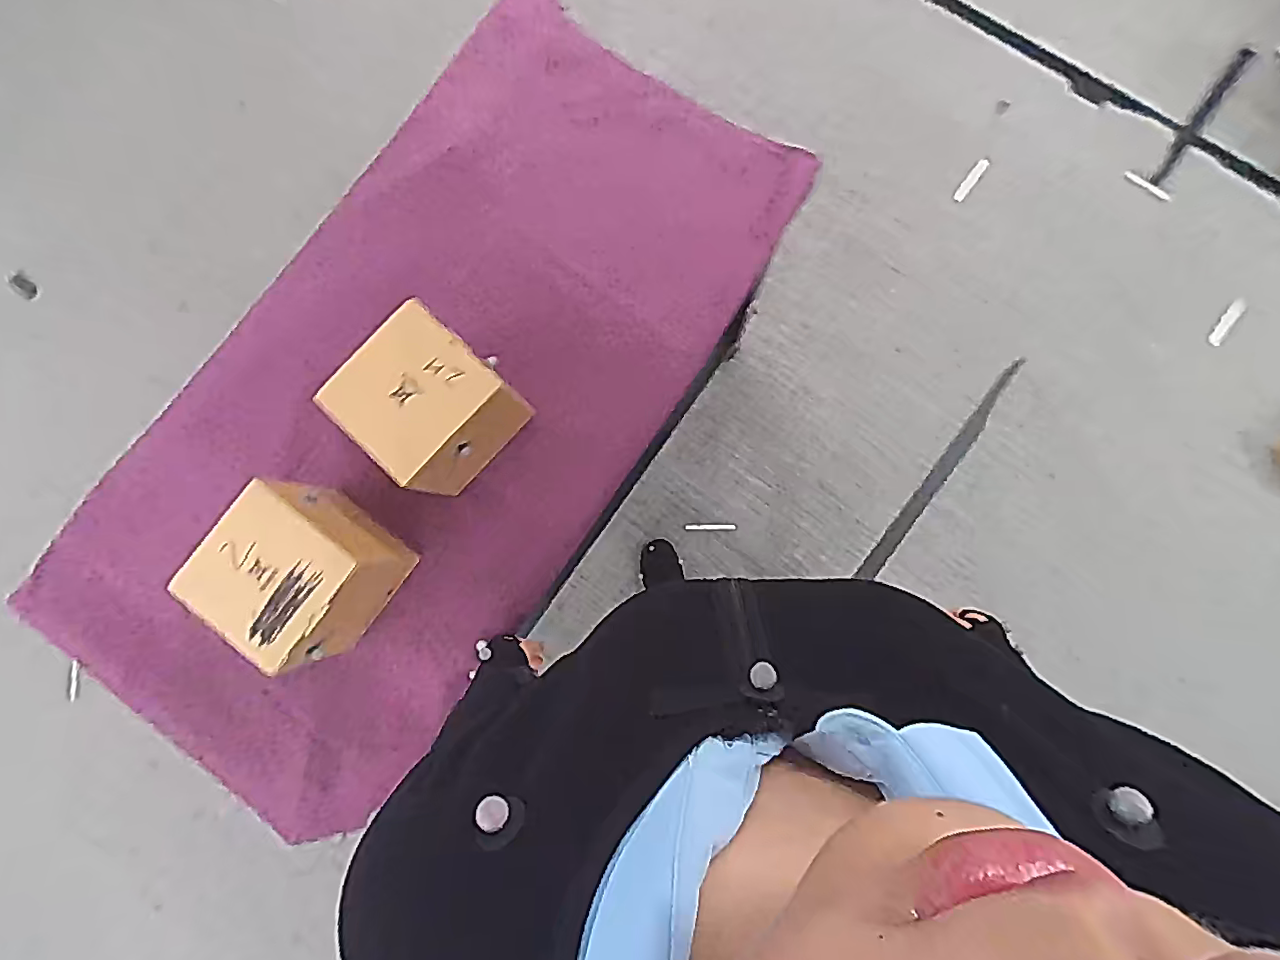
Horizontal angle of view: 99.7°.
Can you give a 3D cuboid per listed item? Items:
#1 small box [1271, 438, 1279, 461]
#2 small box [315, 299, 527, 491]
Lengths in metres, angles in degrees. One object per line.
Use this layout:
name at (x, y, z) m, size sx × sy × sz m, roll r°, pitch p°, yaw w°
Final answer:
small box at (1.815, -0.071, 1.386) m, size 0.168 × 0.176 × 0.179 m, roll -29°, pitch 84°, yaw -1°
small box at (-0.280, -0.100, 0.736) m, size 0.168 × 0.176 × 0.179 m, roll 43°, pitch 87°, yaw 5°
